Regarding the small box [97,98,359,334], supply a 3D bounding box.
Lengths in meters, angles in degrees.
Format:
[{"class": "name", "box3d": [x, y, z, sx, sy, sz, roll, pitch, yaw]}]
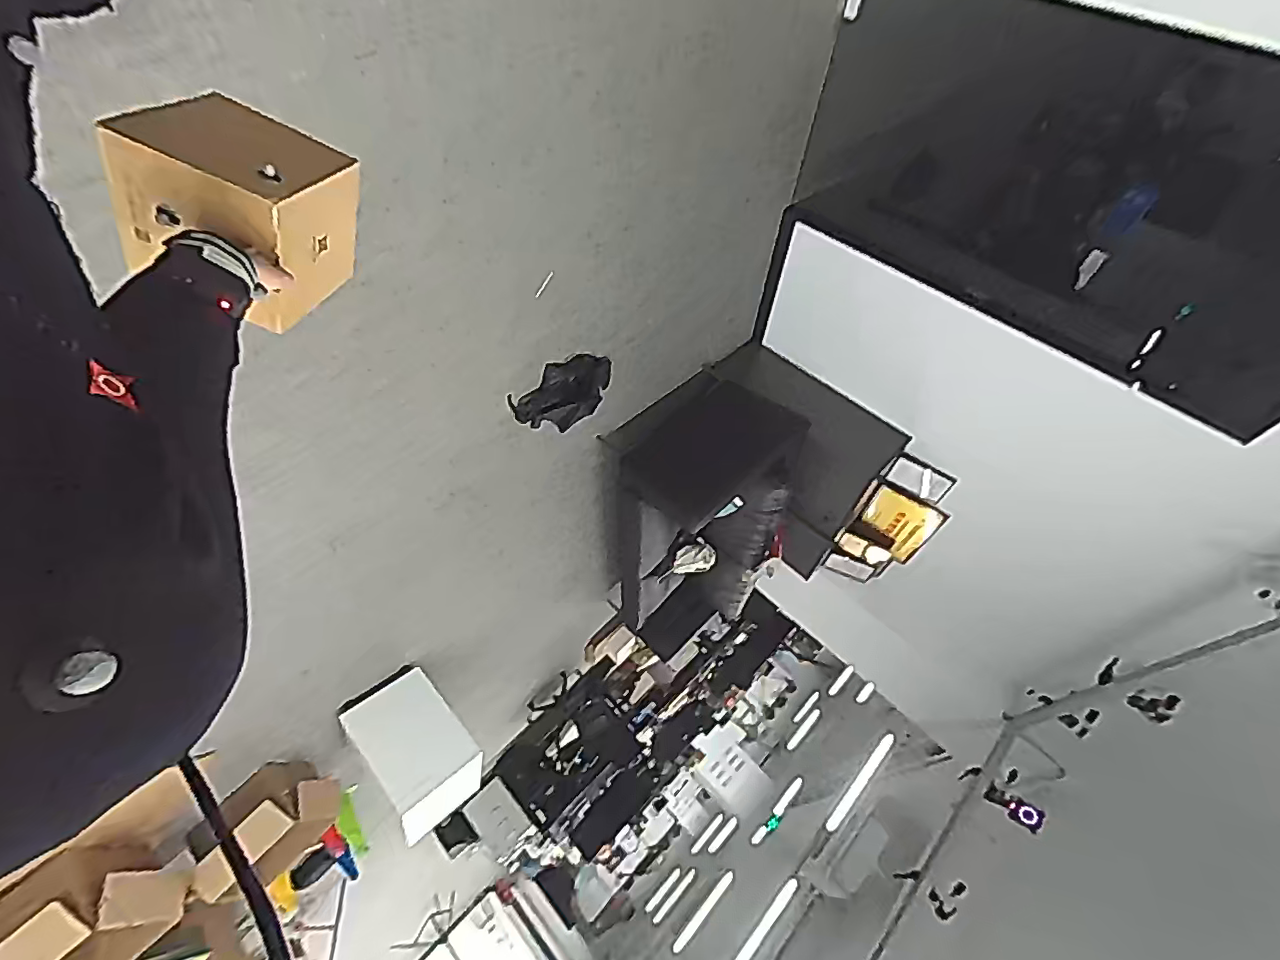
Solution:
[{"class": "small box", "box3d": [-0.461, -0.311, 0.633, 0.179, 0.176, 0.168, -80, -163, -46]}]
